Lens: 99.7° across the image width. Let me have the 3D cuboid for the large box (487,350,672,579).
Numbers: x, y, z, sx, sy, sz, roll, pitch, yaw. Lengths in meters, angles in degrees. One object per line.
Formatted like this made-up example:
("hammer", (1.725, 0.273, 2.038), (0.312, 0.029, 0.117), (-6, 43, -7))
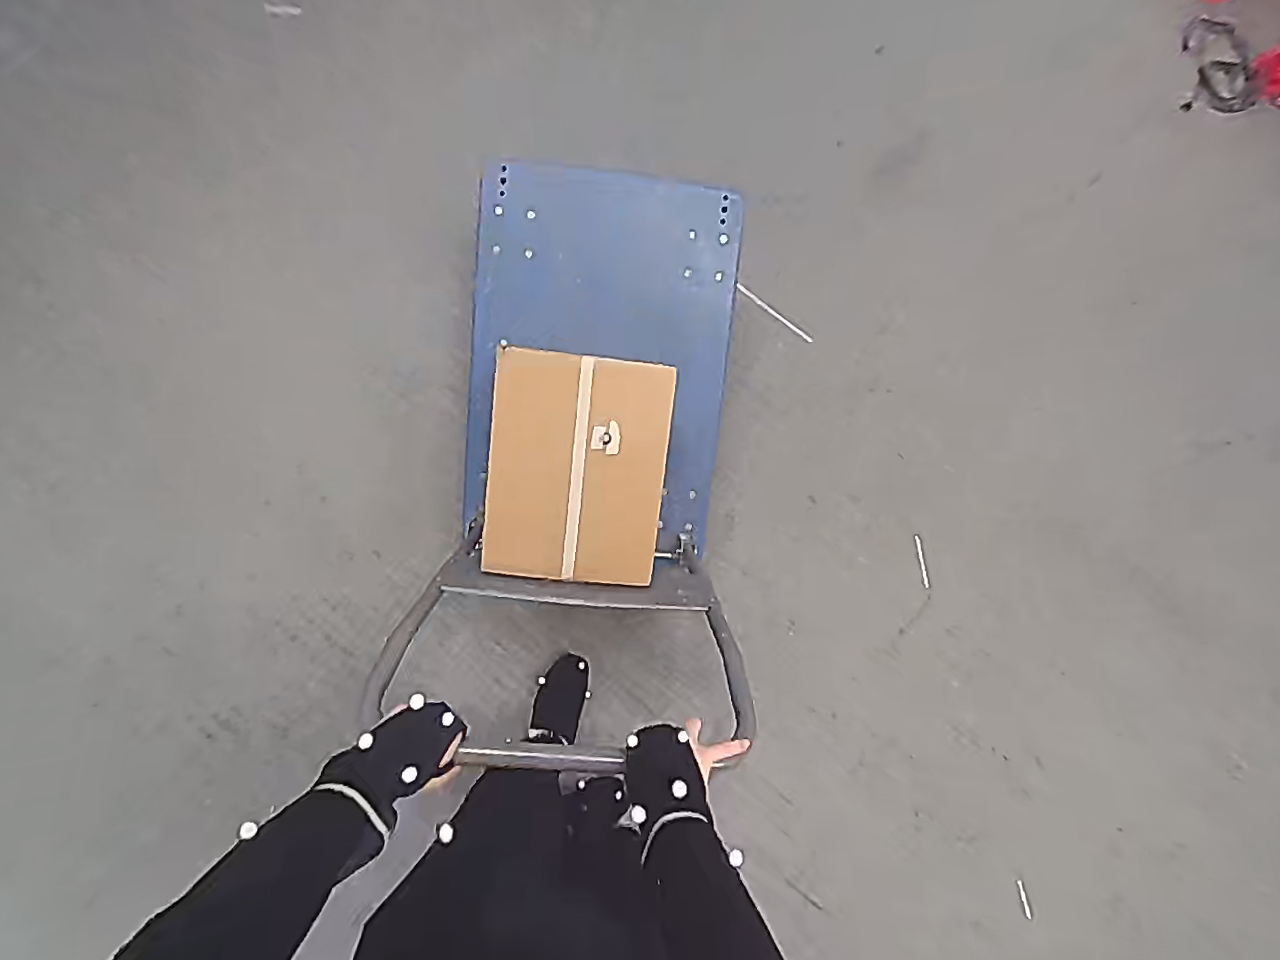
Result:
("large box", (-0.119, -0.039, 1.132), (0.320, 0.320, 0.408), (6, 98, -5))
